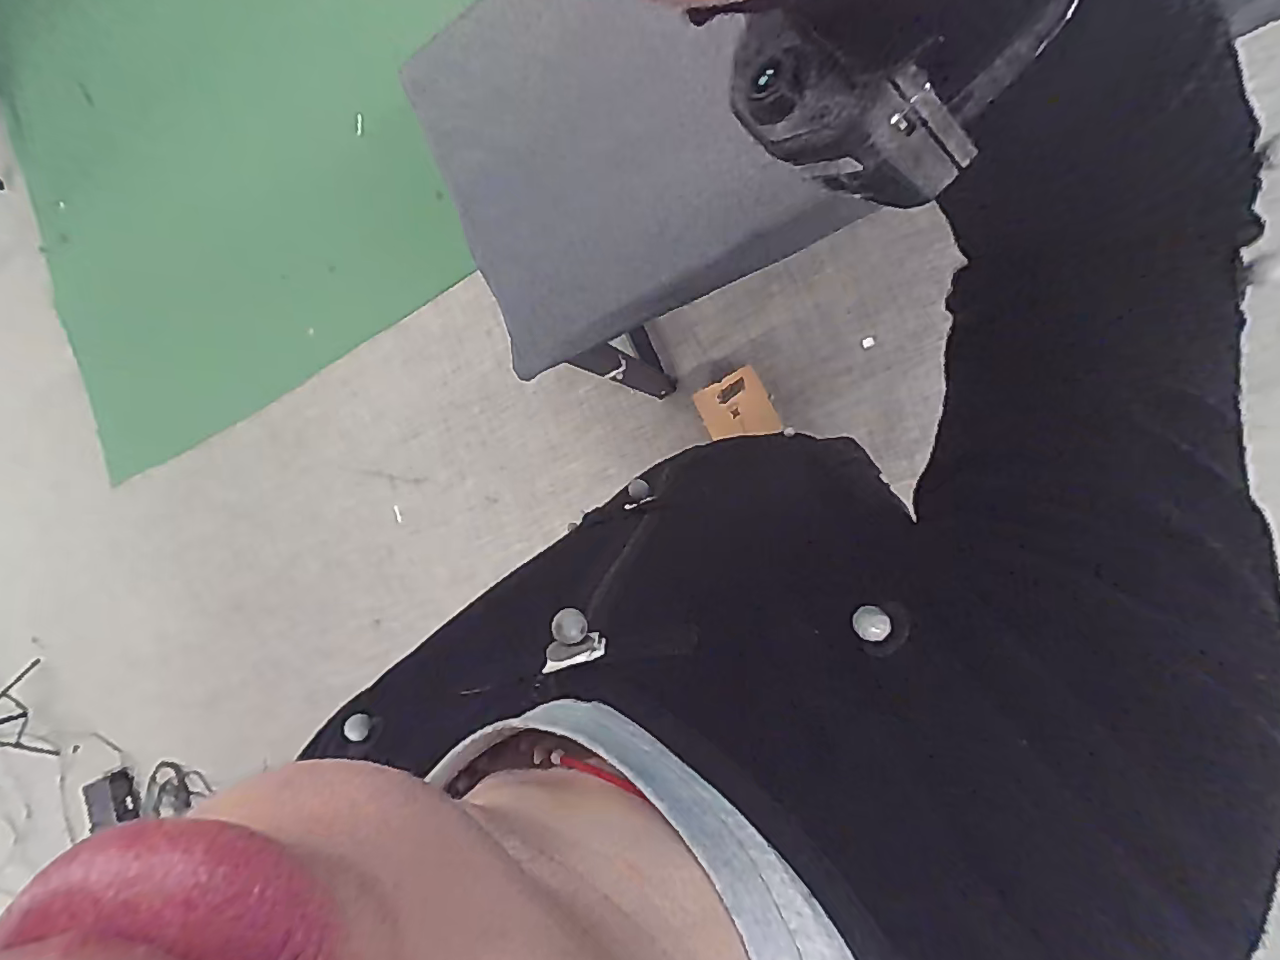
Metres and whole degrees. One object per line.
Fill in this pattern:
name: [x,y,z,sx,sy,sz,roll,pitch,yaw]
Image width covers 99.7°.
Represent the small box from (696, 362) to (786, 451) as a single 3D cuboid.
small box: [0.270,-0.184,1.424,0.168,0.176,0.179,-27,84,18]
